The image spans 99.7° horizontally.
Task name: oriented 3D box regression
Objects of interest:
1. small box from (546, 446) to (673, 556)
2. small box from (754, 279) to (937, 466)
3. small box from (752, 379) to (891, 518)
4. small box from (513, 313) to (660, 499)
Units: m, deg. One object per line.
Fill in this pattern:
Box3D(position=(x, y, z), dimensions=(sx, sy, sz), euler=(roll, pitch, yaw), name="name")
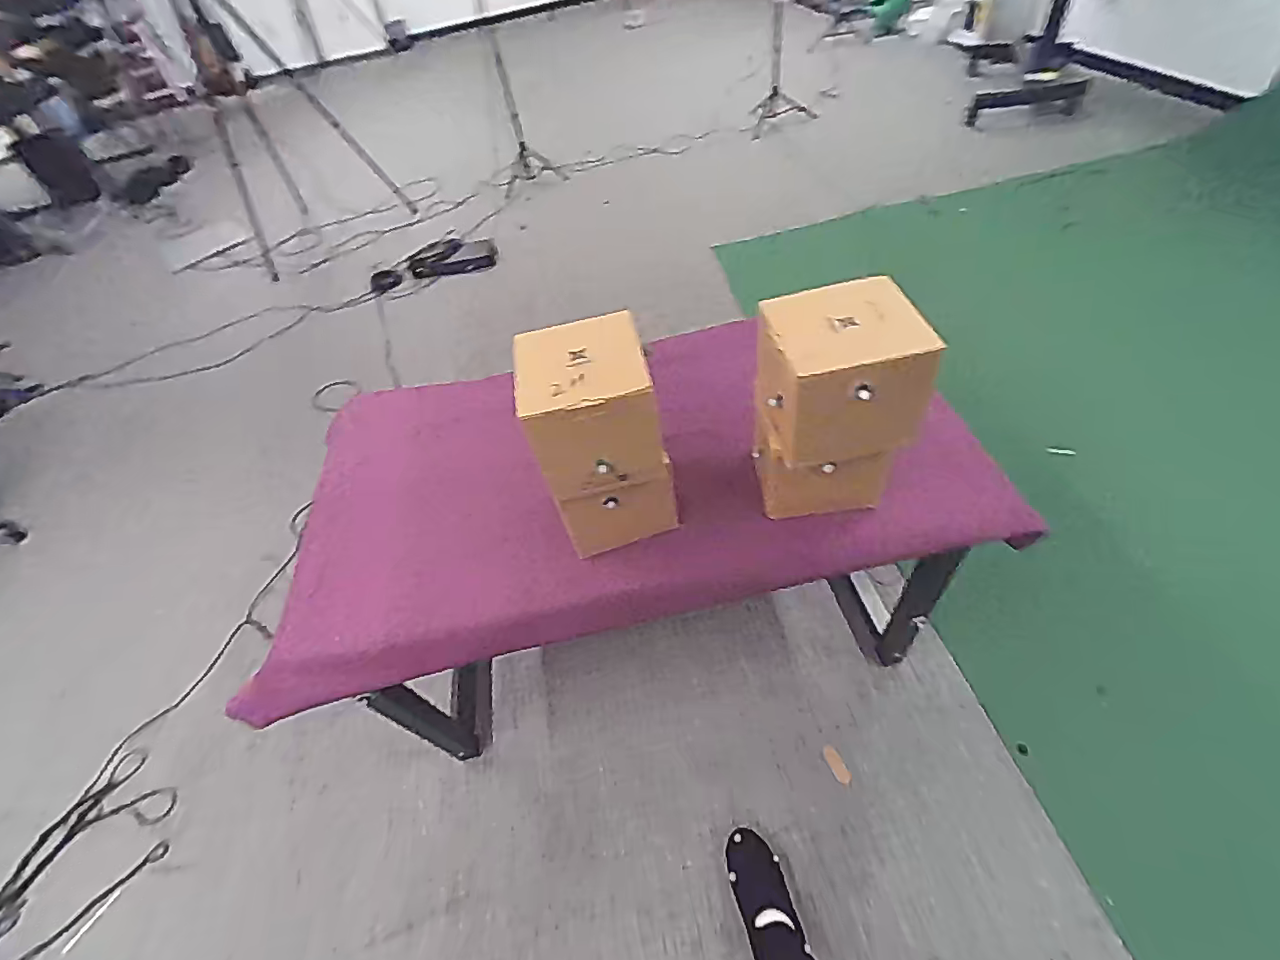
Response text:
Box3D(position=(-0.056, -0.001, 0.885), dimensions=(0.179, 0.176, 0.168), euler=(-18, 50, -6), name="small box")
Box3D(position=(0.259, -0.139, 0.728), dimensions=(0.179, 0.176, 0.168), euler=(-11, 49, 2), name="small box")
Box3D(position=(0.280, -0.057, 0.871), dimensions=(0.179, 0.176, 0.168), euler=(-7, 49, 6), name="small box")
Box3D(position=(-0.073, -0.101, 0.755), dimensions=(0.168, 0.176, 0.179), euler=(-13, 50, 0), name="small box")
